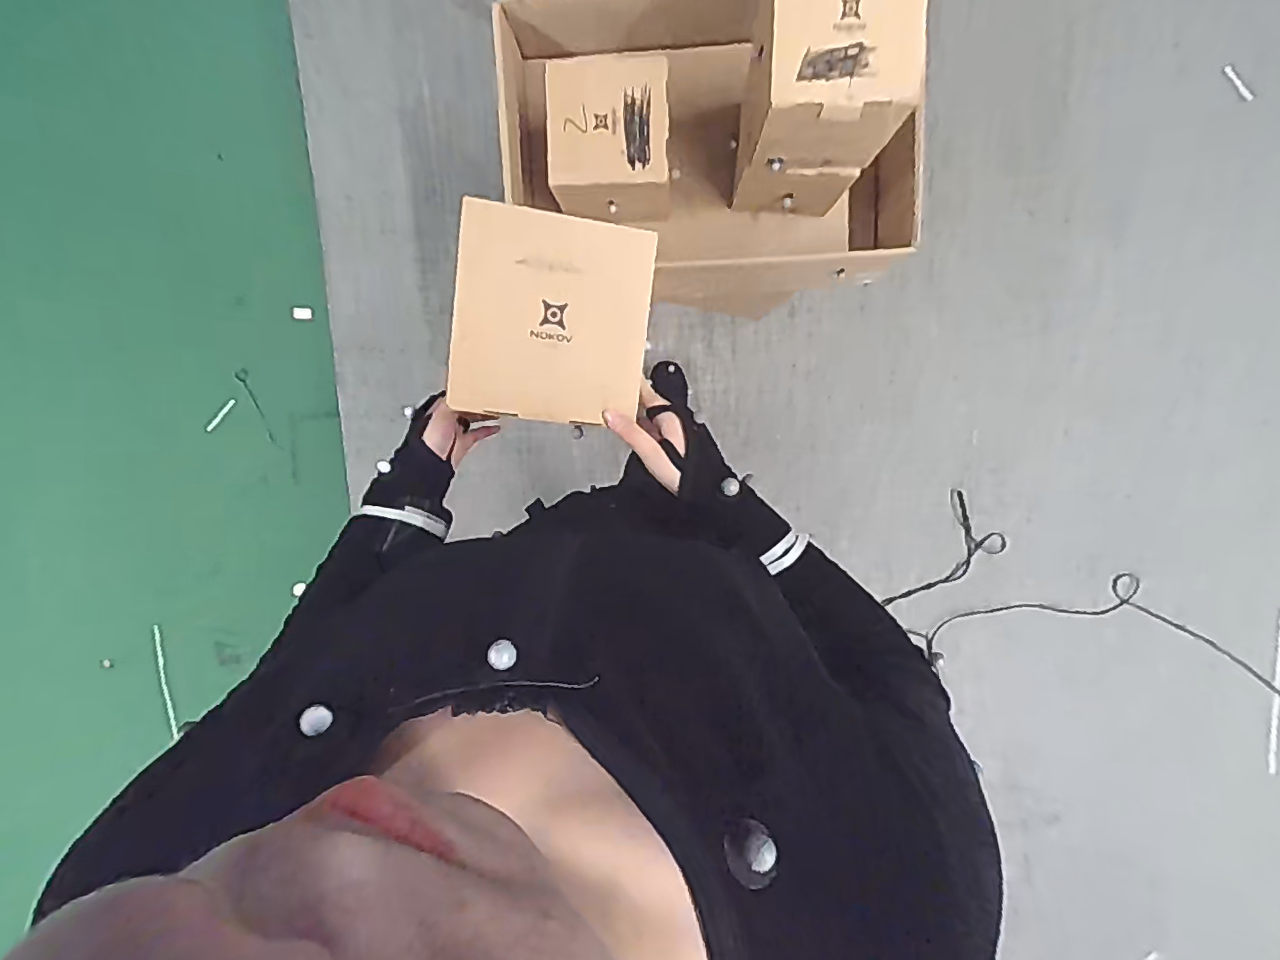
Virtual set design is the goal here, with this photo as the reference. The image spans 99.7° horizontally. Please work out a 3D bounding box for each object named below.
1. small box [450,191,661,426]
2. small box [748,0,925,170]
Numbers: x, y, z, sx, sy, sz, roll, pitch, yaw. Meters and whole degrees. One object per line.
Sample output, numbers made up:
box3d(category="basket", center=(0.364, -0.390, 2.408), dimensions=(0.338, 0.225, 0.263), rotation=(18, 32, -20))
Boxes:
box3d(category="small box", center=(-0.085, -0.153, 0.545), dimensions=(0.168, 0.176, 0.179), rotation=(6, 95, -11))
box3d(category="small box", center=(0.231, -0.508, 0.672), dimensions=(0.168, 0.176, 0.179), rotation=(1, 97, 2))
